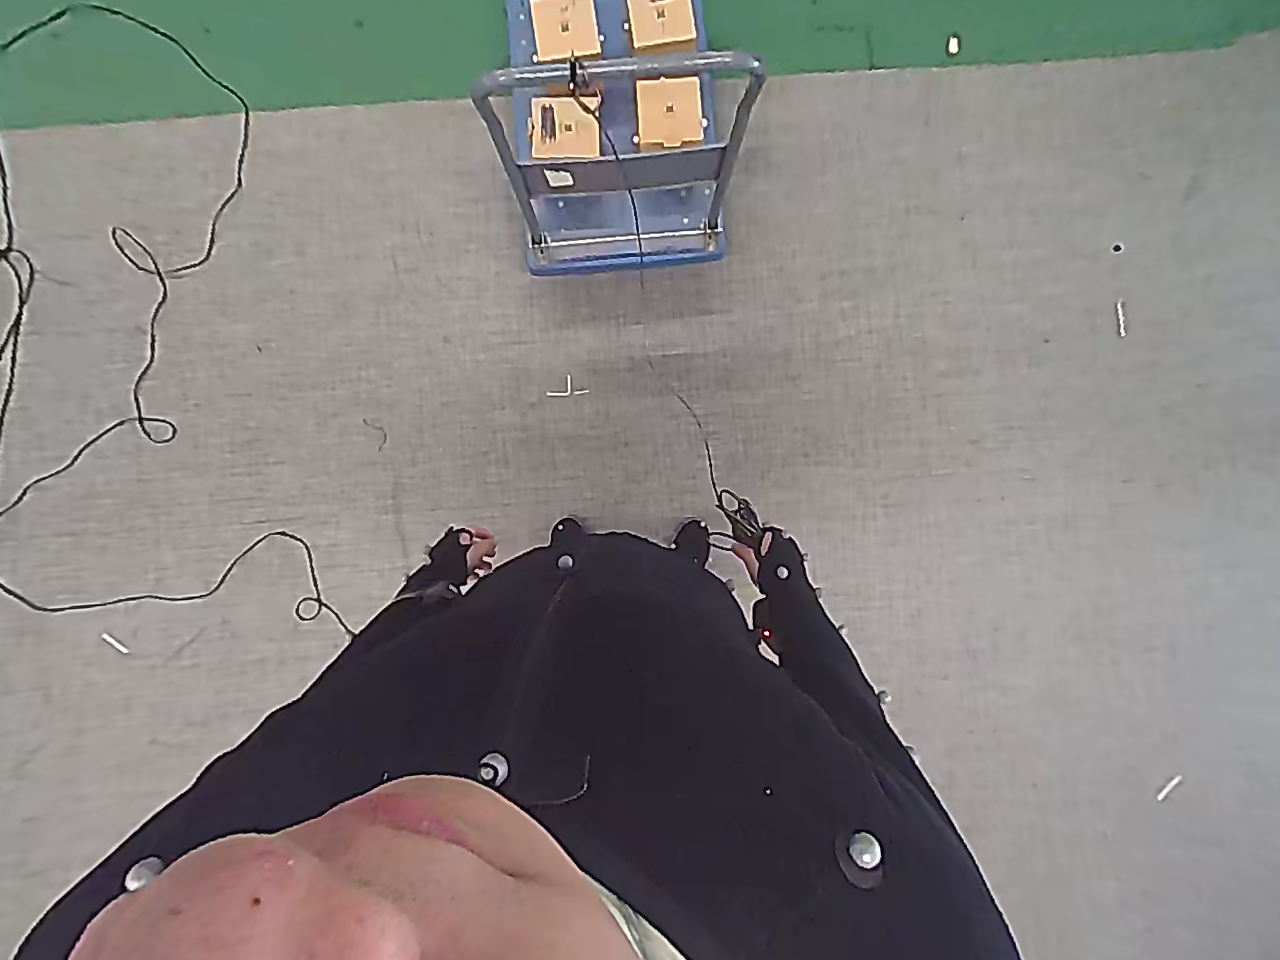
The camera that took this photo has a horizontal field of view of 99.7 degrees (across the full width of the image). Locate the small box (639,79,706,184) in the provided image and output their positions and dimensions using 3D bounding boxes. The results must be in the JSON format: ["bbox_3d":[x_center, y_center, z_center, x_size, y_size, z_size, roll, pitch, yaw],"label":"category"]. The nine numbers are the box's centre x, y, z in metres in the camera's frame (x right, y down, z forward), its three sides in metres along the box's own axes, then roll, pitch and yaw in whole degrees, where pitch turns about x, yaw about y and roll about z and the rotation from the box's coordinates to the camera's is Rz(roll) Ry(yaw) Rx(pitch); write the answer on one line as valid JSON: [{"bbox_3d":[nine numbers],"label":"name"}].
[{"bbox_3d":[0.082,-0.933,1.457,0.168,0.176,0.179,-4,87,0],"label":"small box"}]

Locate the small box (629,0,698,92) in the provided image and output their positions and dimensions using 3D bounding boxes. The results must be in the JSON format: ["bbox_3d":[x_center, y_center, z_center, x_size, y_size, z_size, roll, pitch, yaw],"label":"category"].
[{"bbox_3d":[0.060,-1.201,1.474,0.168,0.176,0.179,-9,87,1],"label":"small box"}]

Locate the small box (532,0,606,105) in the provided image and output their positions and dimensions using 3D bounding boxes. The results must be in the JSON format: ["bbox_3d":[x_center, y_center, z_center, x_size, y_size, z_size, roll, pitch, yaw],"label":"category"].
[{"bbox_3d":[-0.189,-1.162,1.475,0.168,0.176,0.179,-9,86,-1],"label":"small box"}]
